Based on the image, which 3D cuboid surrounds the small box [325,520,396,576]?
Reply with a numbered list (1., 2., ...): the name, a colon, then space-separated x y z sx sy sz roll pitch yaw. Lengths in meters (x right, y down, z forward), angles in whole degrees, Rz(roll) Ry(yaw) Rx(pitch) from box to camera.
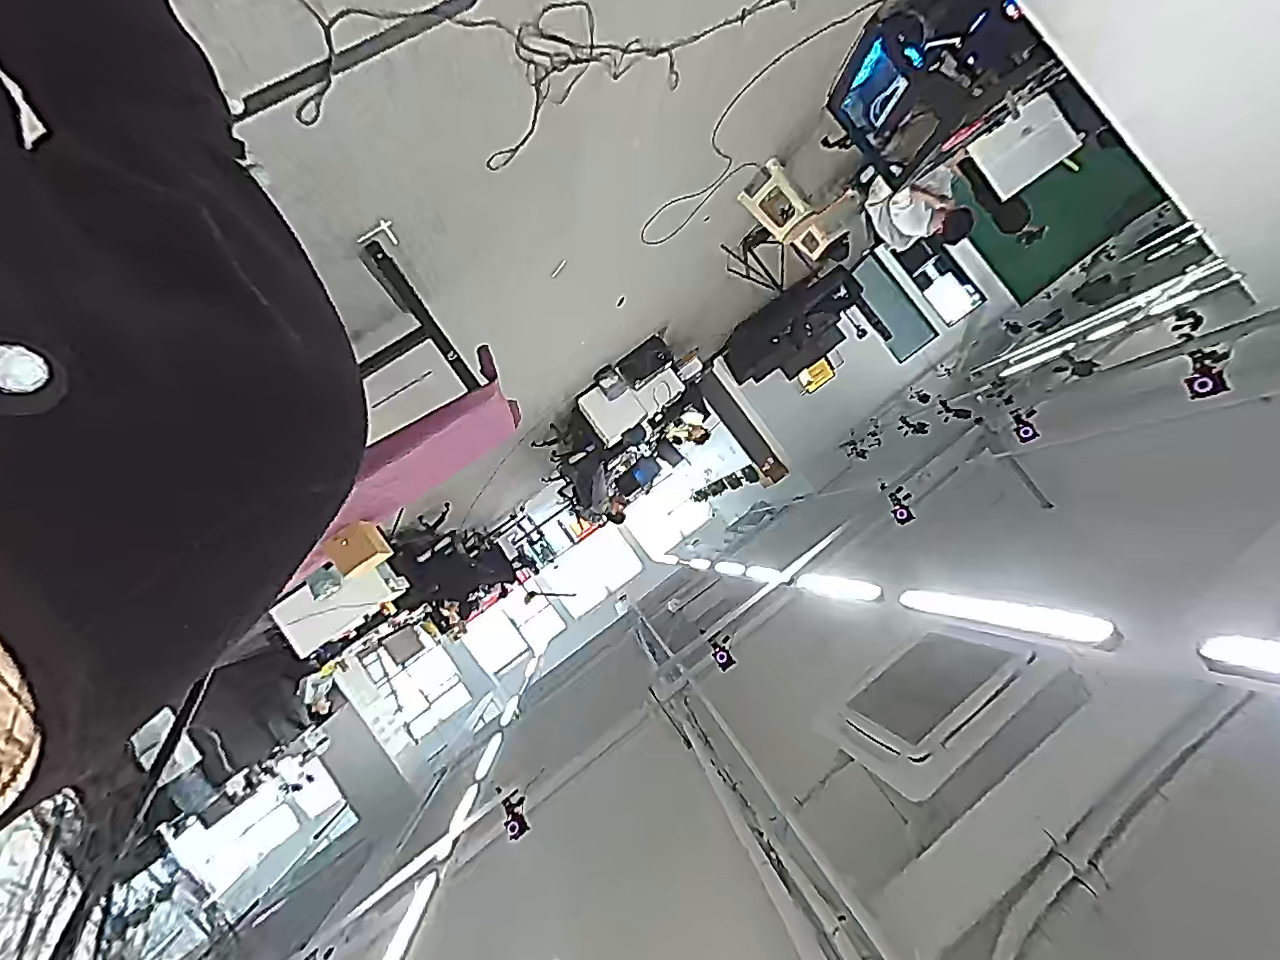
1. small box: -1.157 0.281 2.245 0.168 0.176 0.179 -37 176 -9
